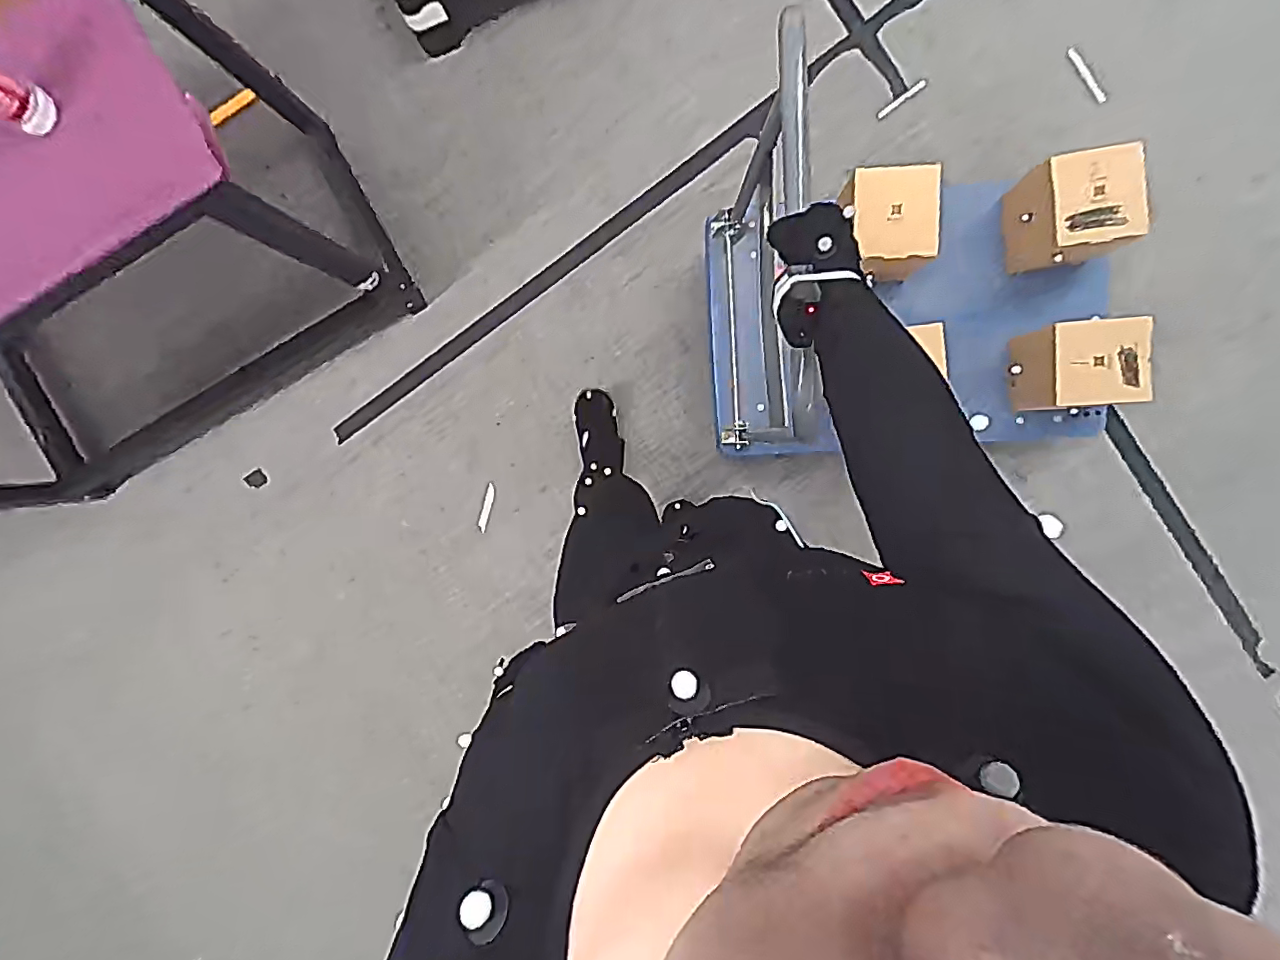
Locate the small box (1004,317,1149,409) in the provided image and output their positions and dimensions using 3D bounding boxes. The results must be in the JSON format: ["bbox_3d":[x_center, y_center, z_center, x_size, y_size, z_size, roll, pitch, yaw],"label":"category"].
[{"bbox_3d":[0.904,-0.238,1.134,0.179,0.176,0.168,-2,94,6],"label":"small box"}]

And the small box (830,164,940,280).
[{"bbox_3d":[0.509,-0.538,1.146,0.168,0.176,0.179,0,96,4],"label":"small box"}]
